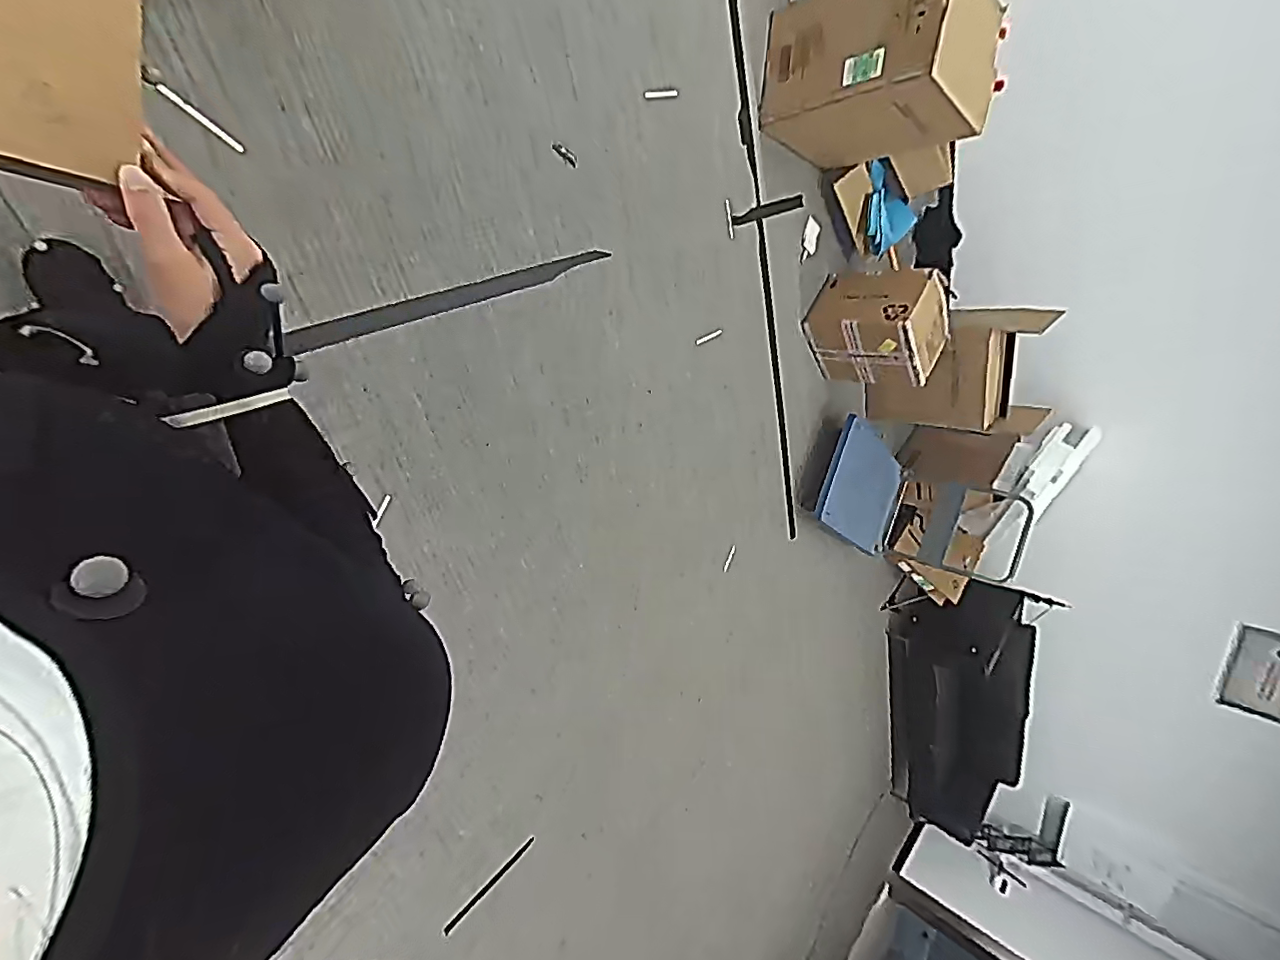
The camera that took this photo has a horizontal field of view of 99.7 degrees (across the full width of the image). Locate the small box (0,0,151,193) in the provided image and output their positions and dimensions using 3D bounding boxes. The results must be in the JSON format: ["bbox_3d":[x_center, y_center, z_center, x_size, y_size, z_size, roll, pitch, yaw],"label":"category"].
[{"bbox_3d":[-0.387,-0.278,0.296,0.168,0.176,0.179,-2,110,-47],"label":"small box"}]
